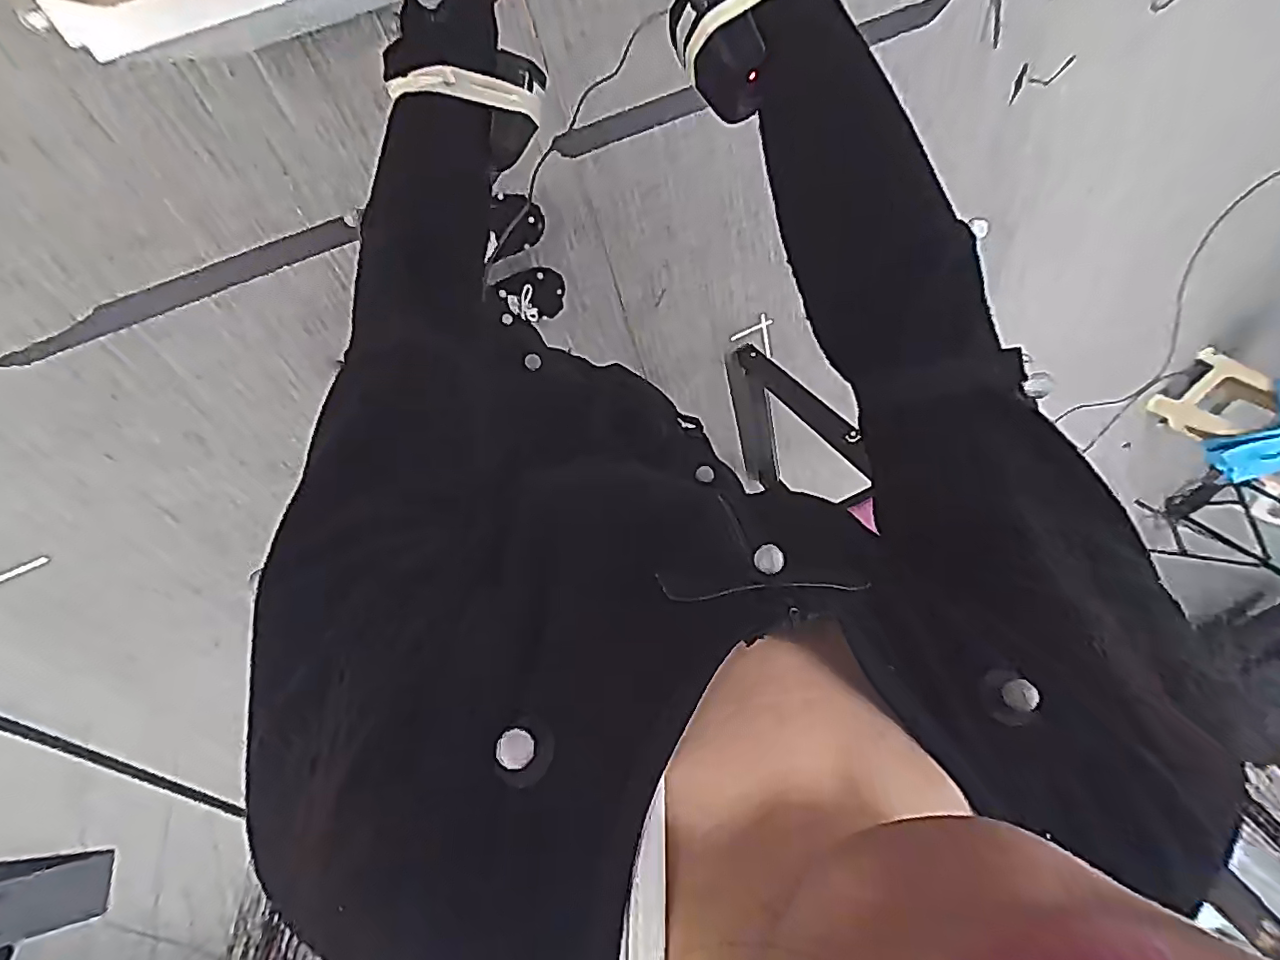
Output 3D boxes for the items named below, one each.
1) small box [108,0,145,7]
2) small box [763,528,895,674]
[{"bbox_3d":[-0.377,-0.449,0.351,0.168,0.176,0.179,-24,130,-5],"label":"small box"},{"bbox_3d":[0.343,0.223,1.019,0.179,0.176,0.168,-22,132,-8],"label":"small box"}]
